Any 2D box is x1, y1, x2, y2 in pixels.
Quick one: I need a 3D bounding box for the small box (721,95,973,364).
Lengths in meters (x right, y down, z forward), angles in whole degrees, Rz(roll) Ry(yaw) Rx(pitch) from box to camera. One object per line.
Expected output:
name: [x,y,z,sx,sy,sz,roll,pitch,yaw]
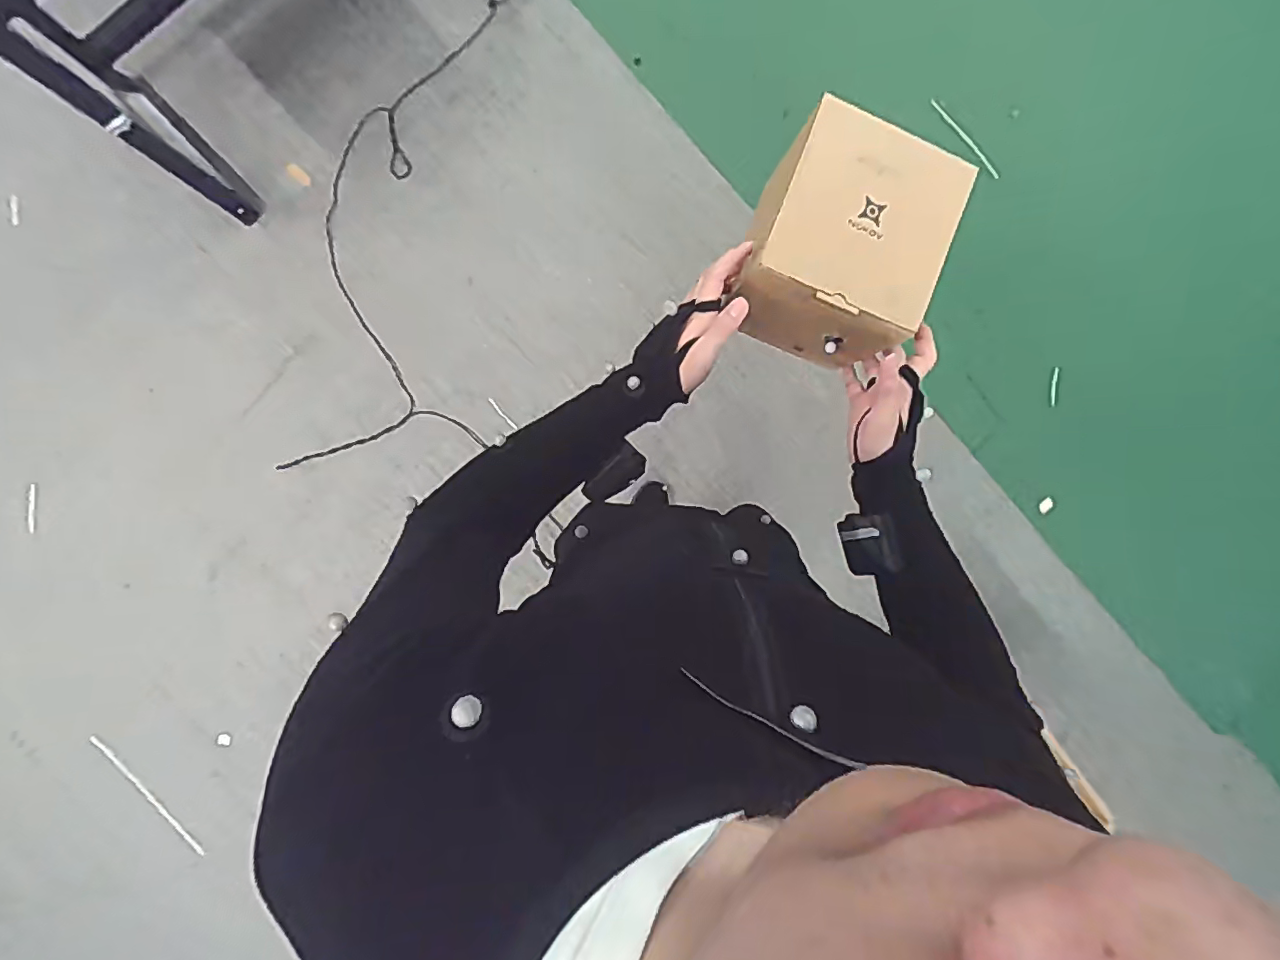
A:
small box: [0.200,-0.243,0.577,0.168,0.176,0.179,21,87,-6]
